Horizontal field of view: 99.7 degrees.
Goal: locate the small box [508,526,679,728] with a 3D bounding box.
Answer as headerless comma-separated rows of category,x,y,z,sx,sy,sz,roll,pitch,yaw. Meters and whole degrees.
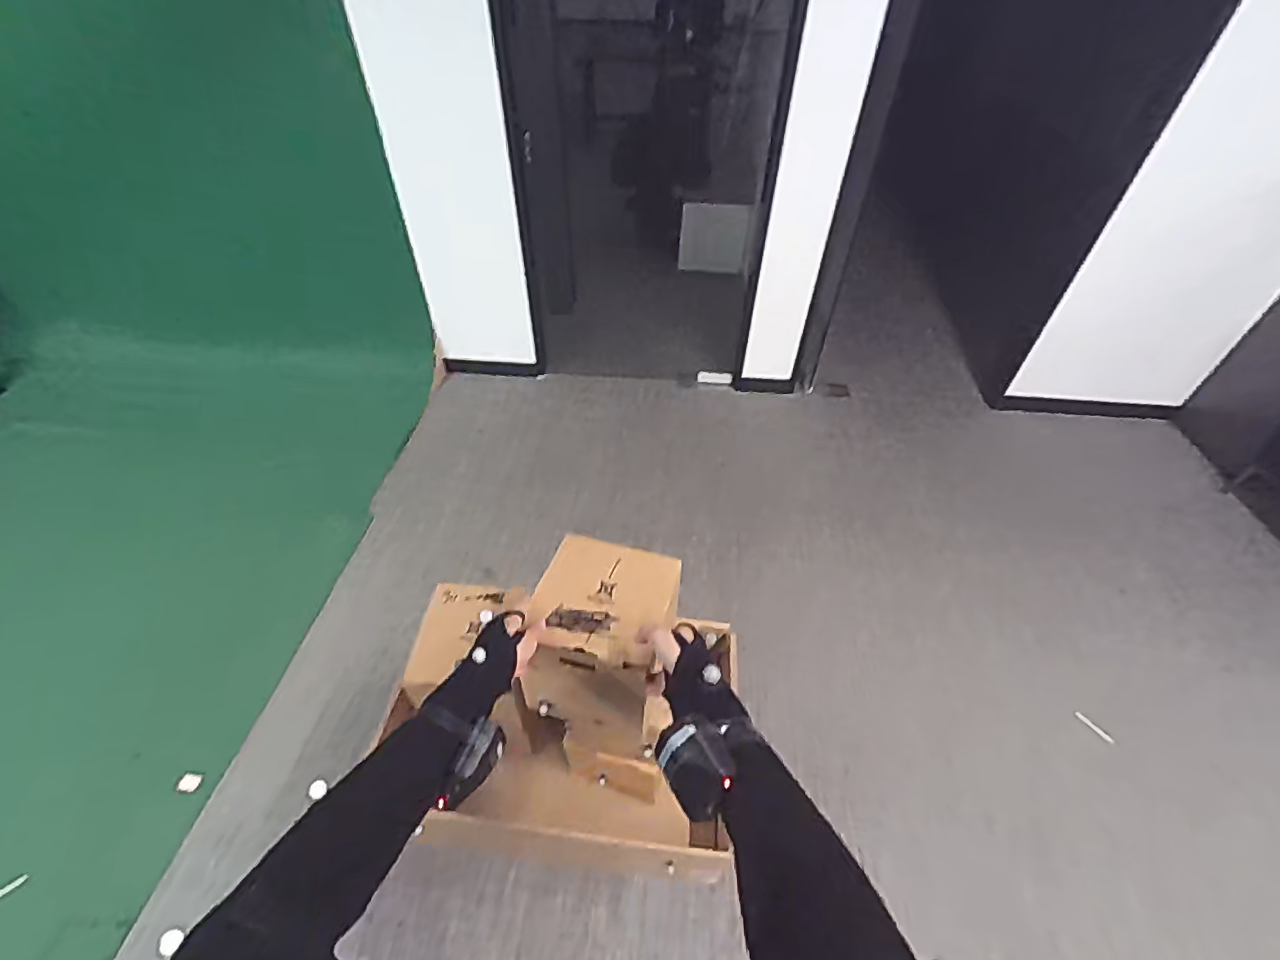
small box,-0.051,0.193,0.711,0.168,0.176,0.179,13,42,11

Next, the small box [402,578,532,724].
small box,-0.262,0.286,0.897,0.168,0.176,0.179,4,46,1

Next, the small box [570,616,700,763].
small box,-0.003,0.328,0.870,0.168,0.176,0.179,10,46,8

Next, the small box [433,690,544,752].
small box,-0.275,0.390,1.025,0.168,0.176,0.179,3,46,2
